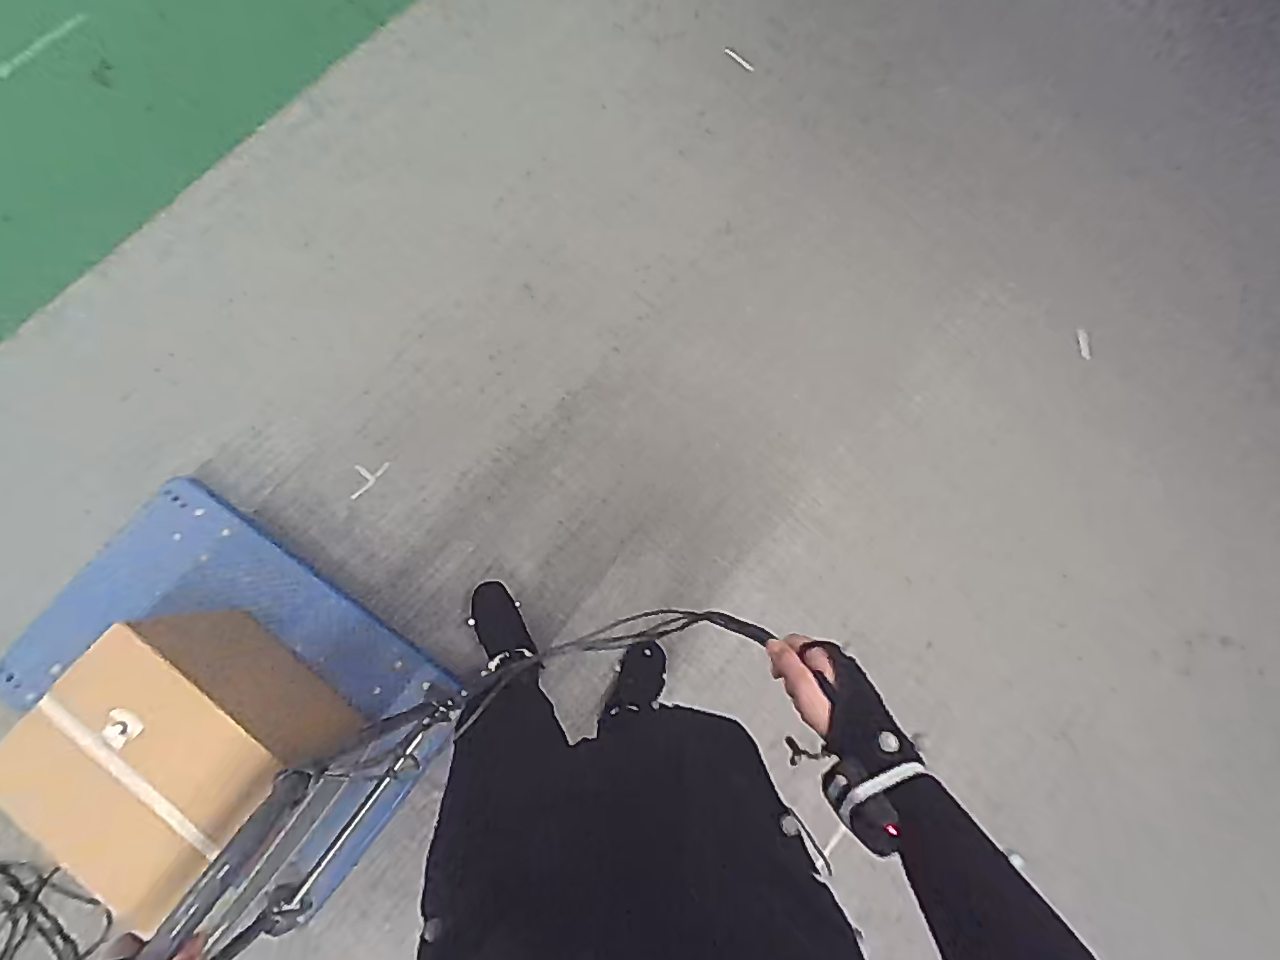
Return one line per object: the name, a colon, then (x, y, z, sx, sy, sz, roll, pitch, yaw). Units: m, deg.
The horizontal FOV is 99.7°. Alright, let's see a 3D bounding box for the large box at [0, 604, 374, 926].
large box: (-0.812, 0.487, 1.021, 0.408, 0.320, 0.320, 38, 80, 4)
